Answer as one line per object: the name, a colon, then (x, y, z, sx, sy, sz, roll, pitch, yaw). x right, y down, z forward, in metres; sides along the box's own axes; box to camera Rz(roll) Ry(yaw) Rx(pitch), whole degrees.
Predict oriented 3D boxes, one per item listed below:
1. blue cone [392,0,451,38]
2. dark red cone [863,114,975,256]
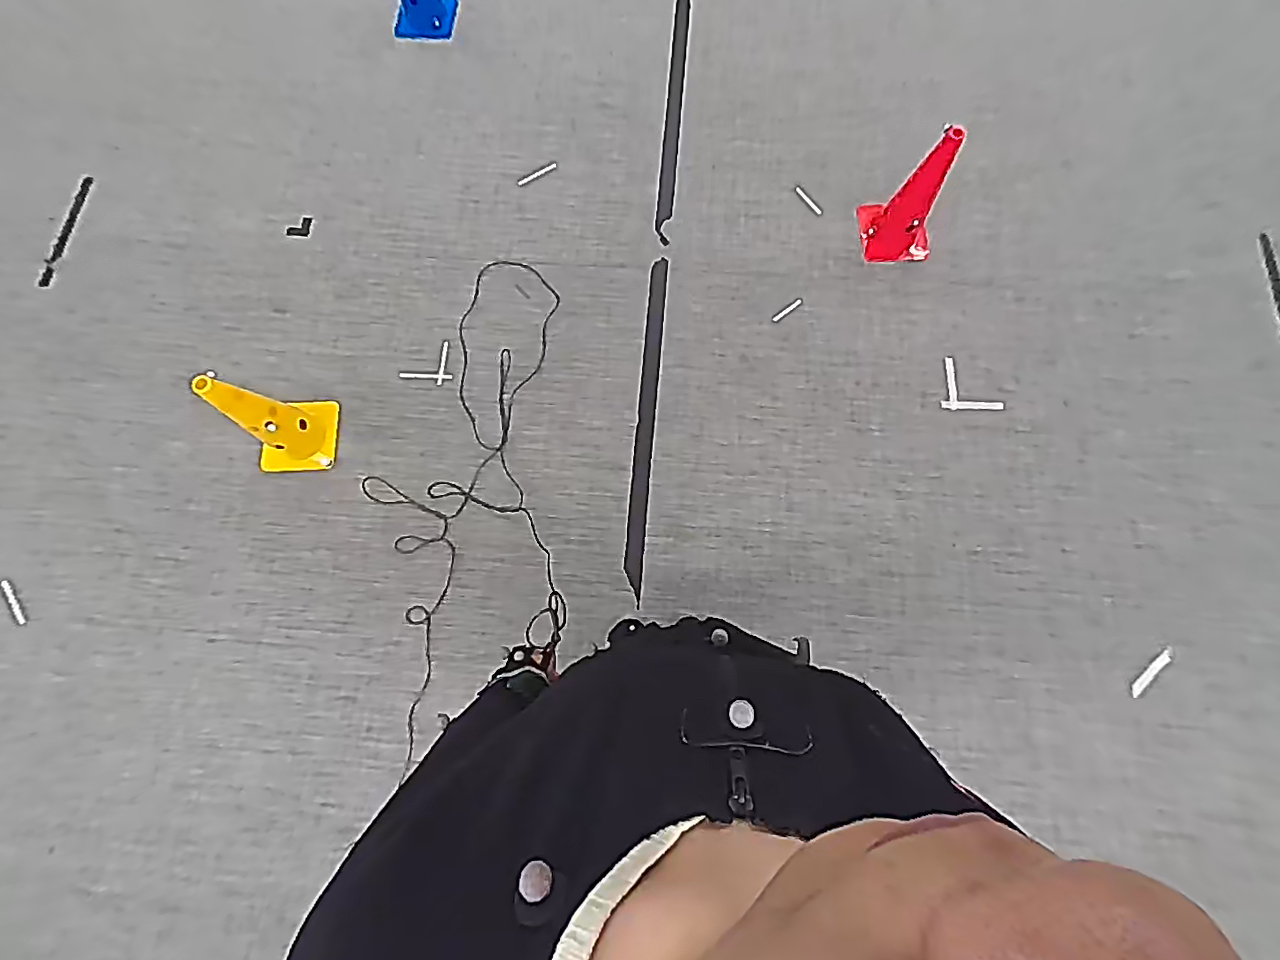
blue cone: (-0.756, -1.637, 1.702, 0.192, 0.380, 0.193, 5, 76, 3)
dark red cone: (0.770, -0.797, 1.450, 0.201, 0.394, 0.202, -4, 76, 1)
